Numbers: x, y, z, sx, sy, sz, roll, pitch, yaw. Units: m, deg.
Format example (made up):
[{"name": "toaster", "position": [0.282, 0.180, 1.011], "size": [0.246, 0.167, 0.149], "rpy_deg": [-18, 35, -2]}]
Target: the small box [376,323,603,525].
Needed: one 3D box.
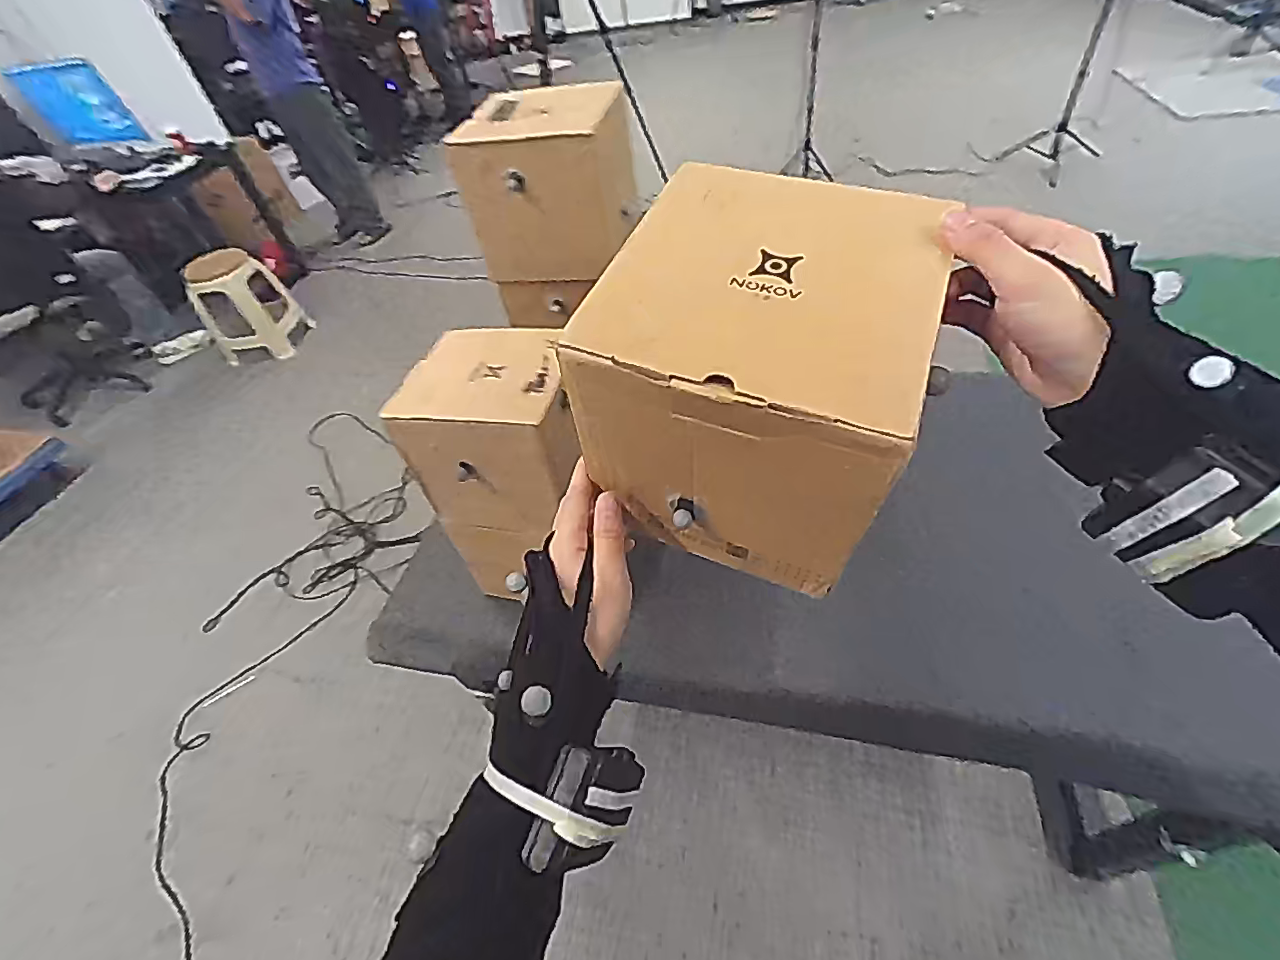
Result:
[{"name": "small box", "position": [-0.155, -0.063, 0.628], "size": [0.179, 0.176, 0.168], "rpy_deg": [3, 48, 13]}]

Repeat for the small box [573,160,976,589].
[{"name": "small box", "position": [0.078, -0.061, 0.340], "size": [0.168, 0.176, 0.179], "rpy_deg": [19, 61, 16]}]

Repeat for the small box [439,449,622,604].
[{"name": "small box", "position": [-0.132, 0.051, 0.743], "size": [0.179, 0.176, 0.168], "rpy_deg": [6, 48, 15]}]

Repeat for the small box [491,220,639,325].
[{"name": "small box", "position": [-0.093, -0.278, 0.810], "size": [0.179, 0.176, 0.168], "rpy_deg": [3, 52, 10]}]

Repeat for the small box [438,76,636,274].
[{"name": "small box", "position": [-0.113, -0.375, 0.680], "size": [0.179, 0.176, 0.168], "rpy_deg": [4, 52, 12]}]
